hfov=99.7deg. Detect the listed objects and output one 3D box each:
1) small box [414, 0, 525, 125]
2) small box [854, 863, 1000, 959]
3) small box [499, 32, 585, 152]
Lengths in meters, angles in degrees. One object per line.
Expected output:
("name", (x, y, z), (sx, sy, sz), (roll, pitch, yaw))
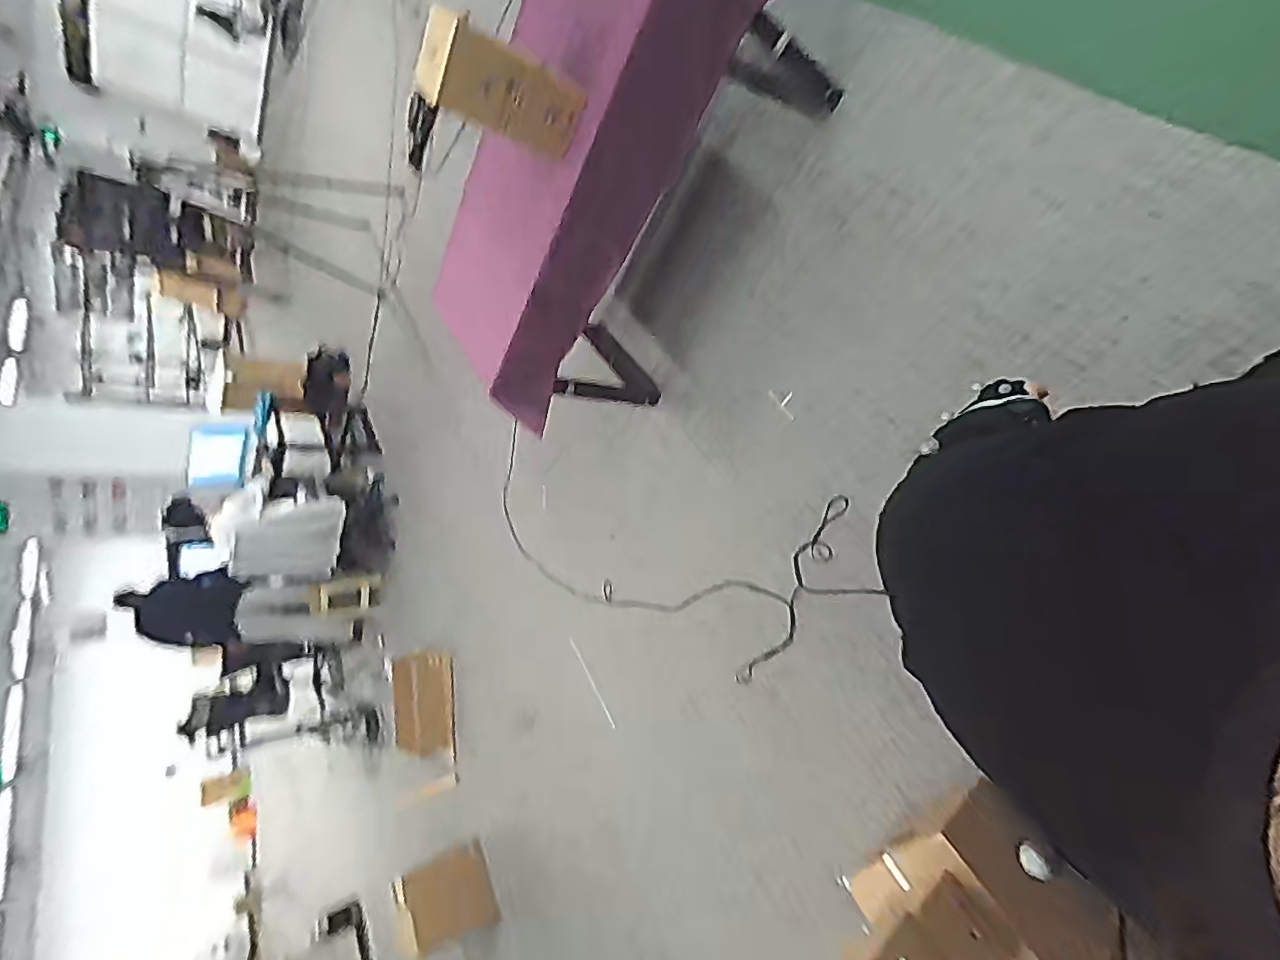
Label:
("small box", (-0.386, -0.944, 1.224), (0.179, 0.176, 0.168), (55, 126, 31))
("small box", (0.579, 0.921, 1.087), (0.168, 0.176, 0.179), (54, 124, 31))
("small box", (-0.264, -0.947, 1.336), (0.179, 0.176, 0.168), (55, 126, 30))
